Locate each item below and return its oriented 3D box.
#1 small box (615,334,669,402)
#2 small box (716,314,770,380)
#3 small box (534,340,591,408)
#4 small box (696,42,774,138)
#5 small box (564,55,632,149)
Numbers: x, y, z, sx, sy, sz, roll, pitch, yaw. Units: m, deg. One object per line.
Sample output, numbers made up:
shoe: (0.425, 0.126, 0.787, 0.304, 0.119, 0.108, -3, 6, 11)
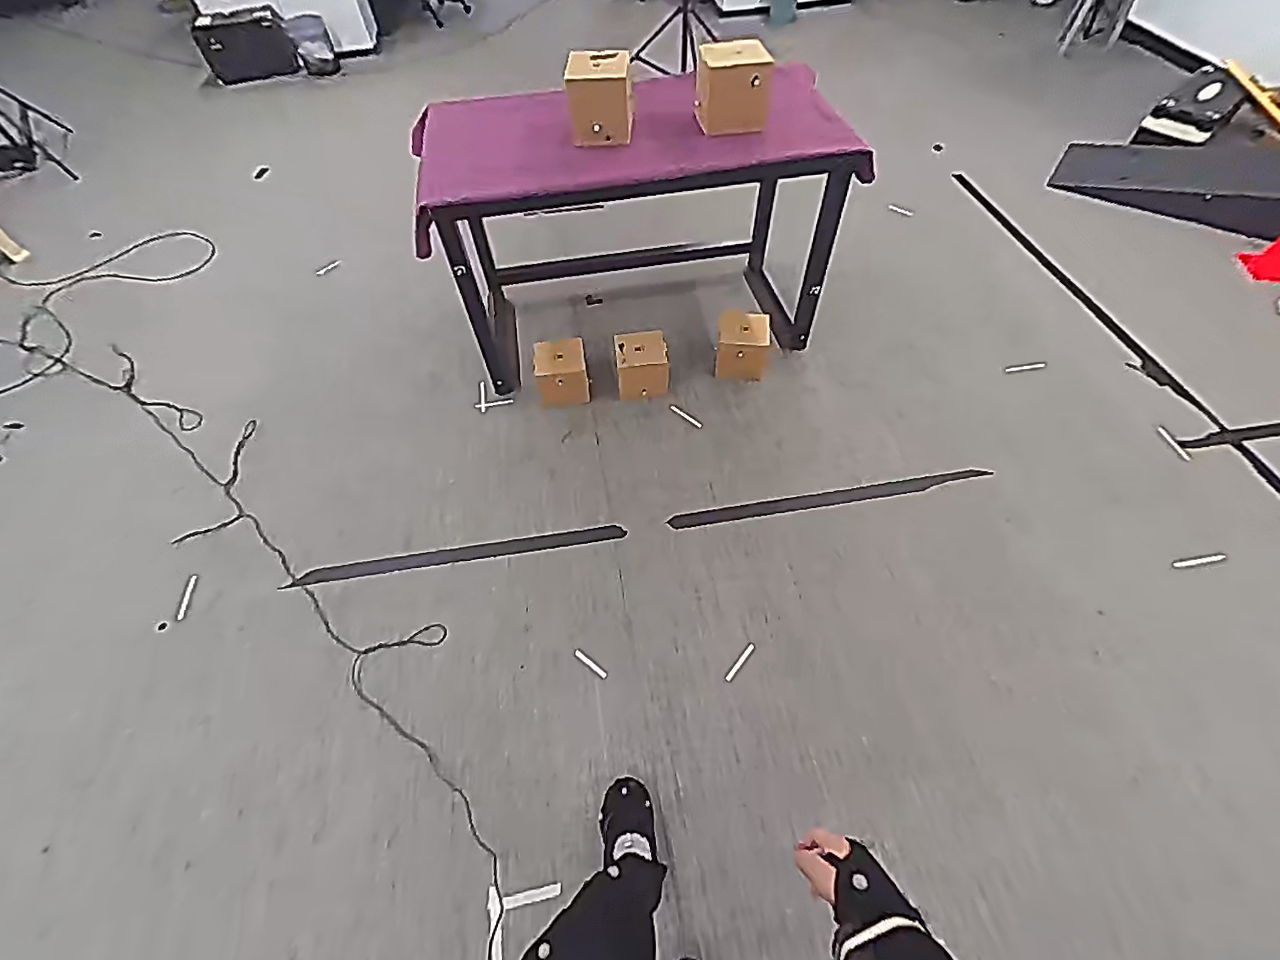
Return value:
small box: (0.006, -0.400, 1.941, 0.179, 0.176, 0.168, -6, 56, -1)
small box: (0.376, -0.482, 1.980, 0.179, 0.176, 0.168, 4, 57, 7)
small box: (-0.275, -0.375, 1.938, 0.179, 0.176, 0.168, -8, 57, -3)
small box: (0.259, -1.090, 1.515, 0.179, 0.176, 0.168, -8, 55, -2)
small box: (-0.110, -1.055, 1.509, 0.168, 0.176, 0.179, 0, 56, 3)
